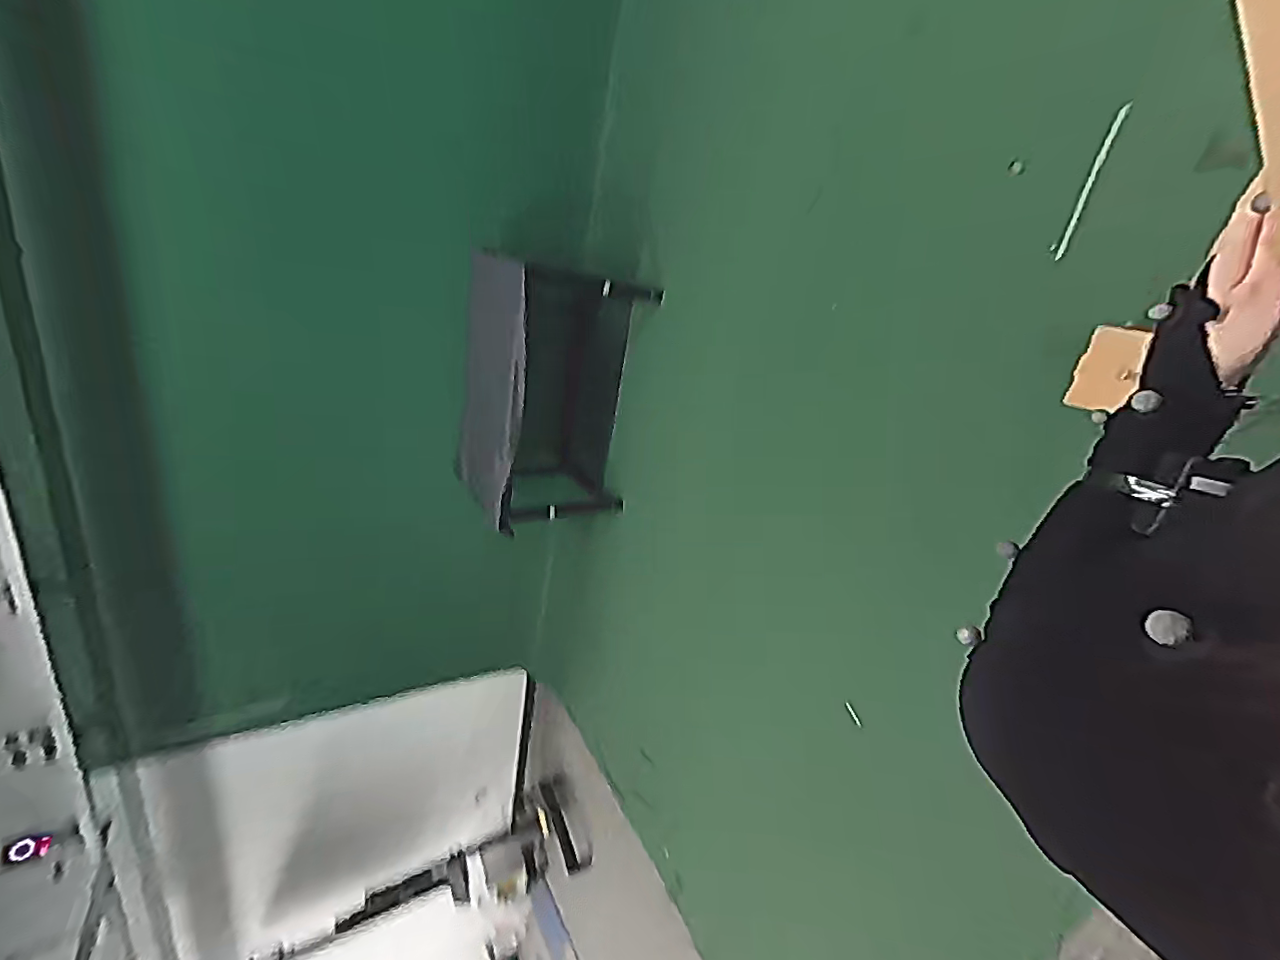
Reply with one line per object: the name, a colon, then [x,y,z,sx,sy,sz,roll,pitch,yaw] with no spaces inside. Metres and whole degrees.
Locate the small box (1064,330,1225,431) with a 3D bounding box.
small box: [1.039,-0.208,1.114,0.179,0.176,0.168,37,124,51]
